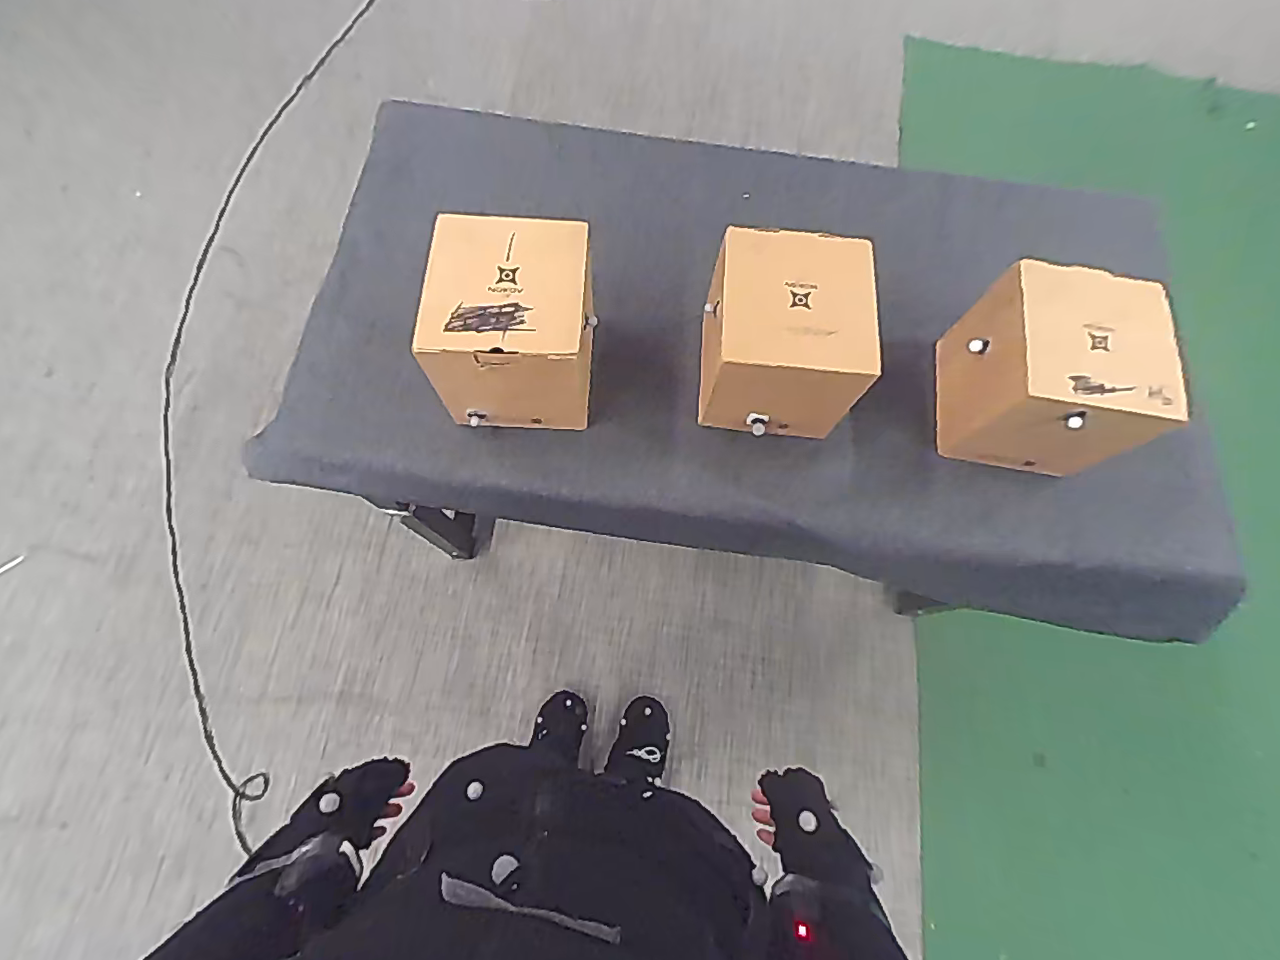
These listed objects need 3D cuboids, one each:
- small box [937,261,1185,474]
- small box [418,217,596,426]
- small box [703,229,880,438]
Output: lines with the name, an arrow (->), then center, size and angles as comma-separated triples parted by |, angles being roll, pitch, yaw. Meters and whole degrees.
small box -> 0.482, -0.127, 0.652 | 0.168, 0.176, 0.179 | 9, 70, 2
small box -> -0.141, -0.176, 0.640 | 0.168, 0.176, 0.179 | 2, 69, -2
small box -> 0.169, -0.168, 0.655 | 0.168, 0.176, 0.179 | 4, 72, 0
